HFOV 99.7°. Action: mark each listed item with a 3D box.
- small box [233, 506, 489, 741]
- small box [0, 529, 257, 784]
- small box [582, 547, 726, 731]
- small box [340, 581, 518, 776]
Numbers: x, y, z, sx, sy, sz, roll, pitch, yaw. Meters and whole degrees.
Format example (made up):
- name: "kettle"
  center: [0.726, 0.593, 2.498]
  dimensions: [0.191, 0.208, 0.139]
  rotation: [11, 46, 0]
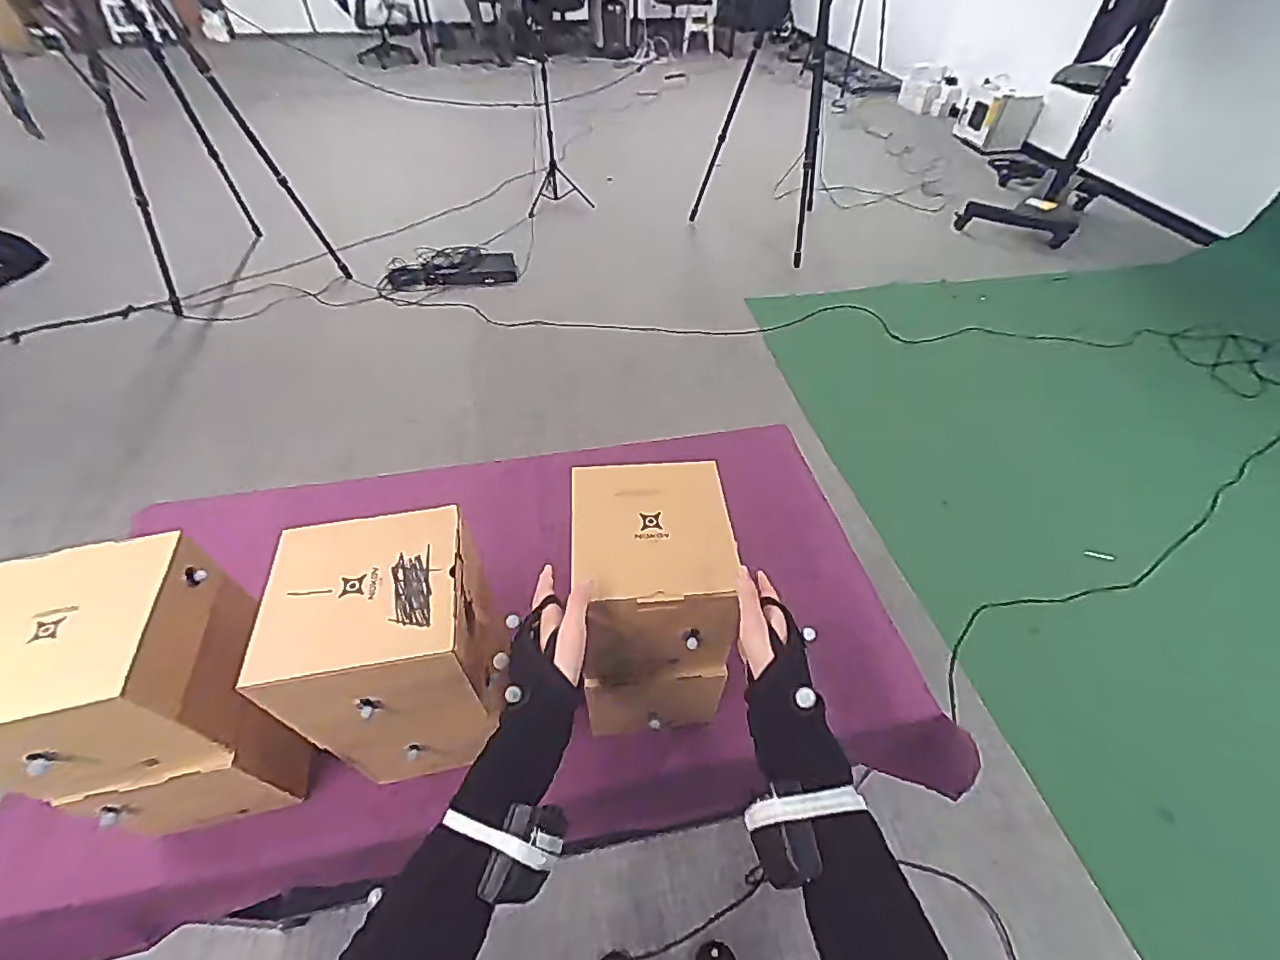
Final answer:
- name: "small box"
  center: [-0.261, 0.150, 0.562]
  dimensions: [0.179, 0.176, 0.168]
  rotation: [-8, 48, -6]
- name: "small box"
  center: [-0.517, 0.180, 0.538]
  dimensions: [0.168, 0.176, 0.179]
  rotation: [-11, 48, -10]
- name: "small box"
  center: [0.010, 0.214, 0.727]
  dimensions: [0.168, 0.176, 0.179]
  rotation: [-5, 48, -3]
- name: "small box"
  center: [-0.262, 0.256, 0.691]
  dimensions: [0.179, 0.176, 0.168]
  rotation: [-9, 49, -9]
